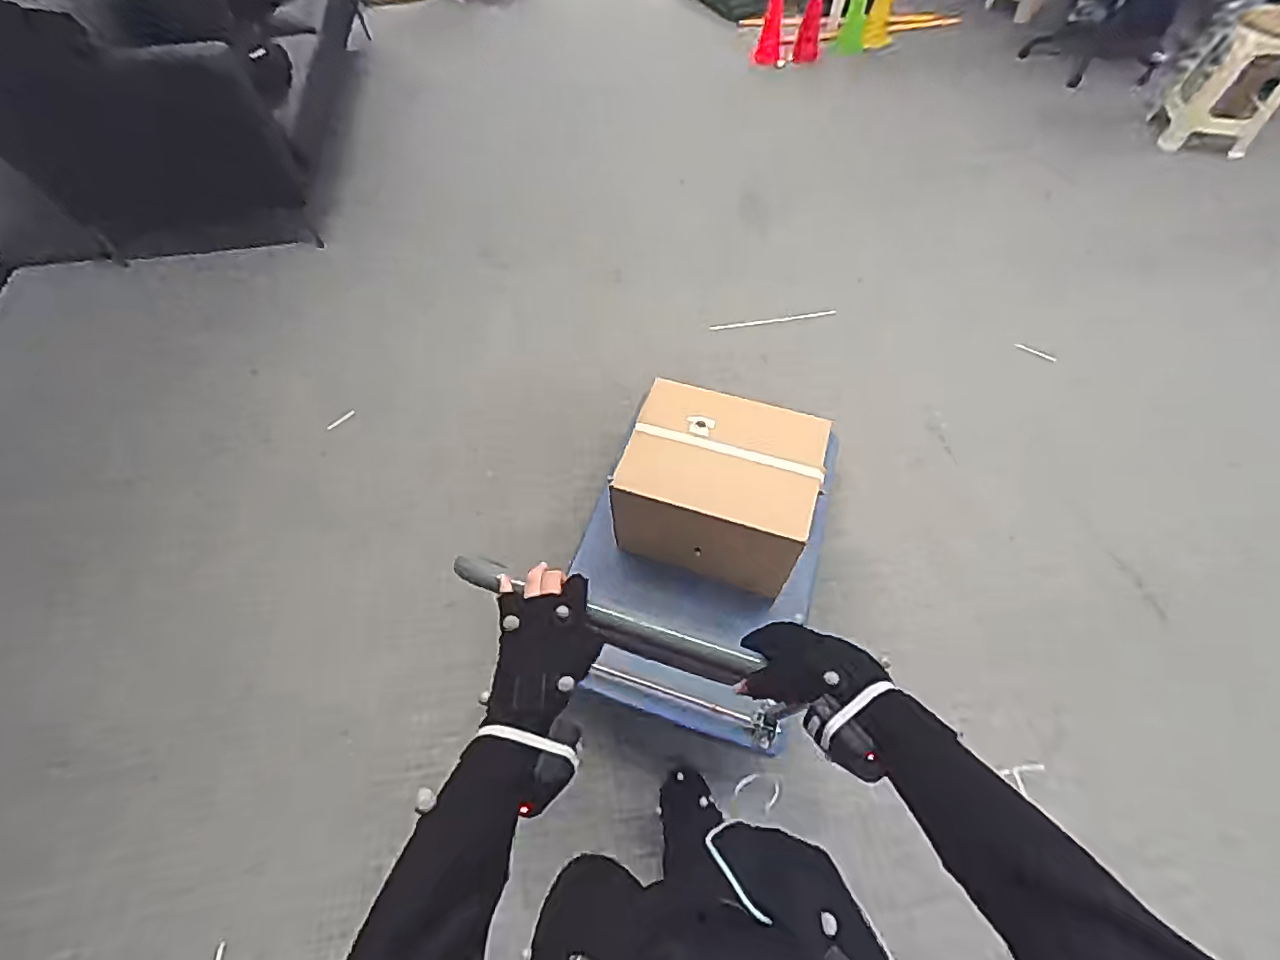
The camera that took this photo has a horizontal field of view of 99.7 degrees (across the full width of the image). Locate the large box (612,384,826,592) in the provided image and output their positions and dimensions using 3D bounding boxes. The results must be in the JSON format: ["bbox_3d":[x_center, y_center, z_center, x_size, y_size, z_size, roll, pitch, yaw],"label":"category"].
[{"bbox_3d":[0.184,0.024,1.276,0.408,0.320,0.320,15,58,12],"label":"large box"}]
